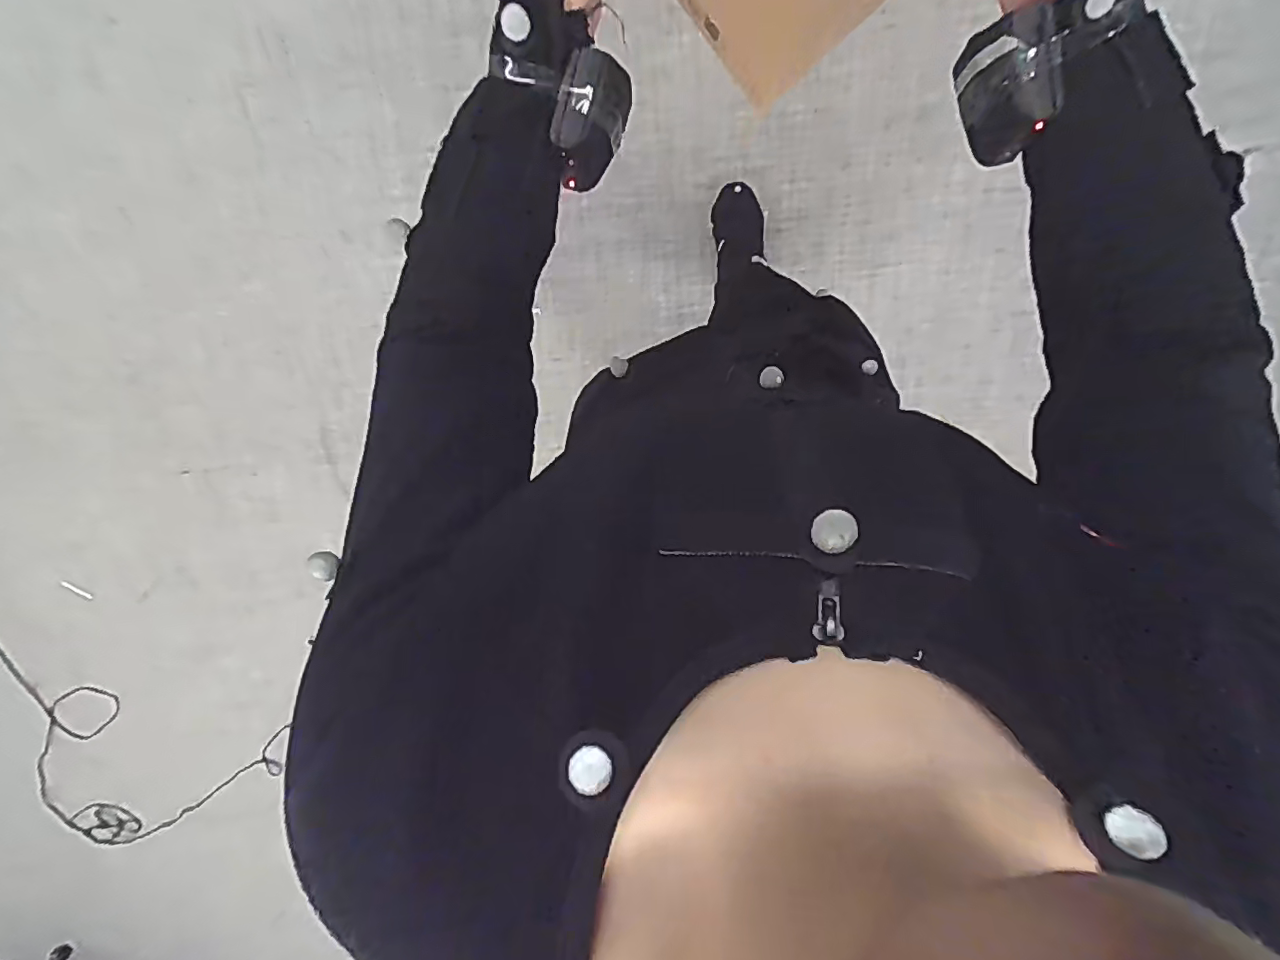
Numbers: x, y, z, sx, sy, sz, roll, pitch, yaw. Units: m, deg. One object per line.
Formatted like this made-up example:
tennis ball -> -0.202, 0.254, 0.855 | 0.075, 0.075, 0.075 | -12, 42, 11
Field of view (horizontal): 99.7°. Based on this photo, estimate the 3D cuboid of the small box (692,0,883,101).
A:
small box -> 0.098, -0.357, 0.287 | 0.179, 0.176, 0.168 | -41, 100, 11
